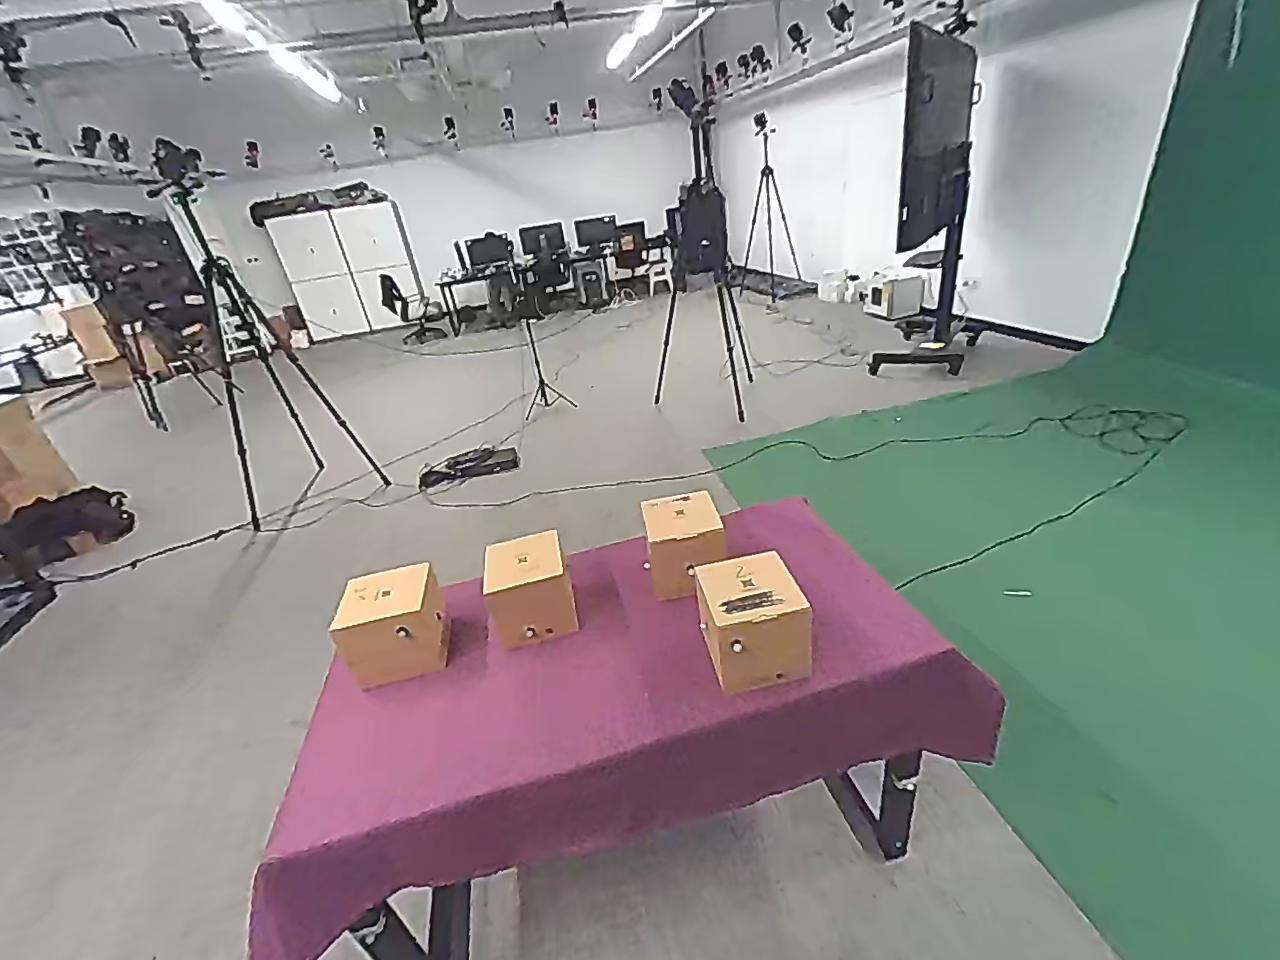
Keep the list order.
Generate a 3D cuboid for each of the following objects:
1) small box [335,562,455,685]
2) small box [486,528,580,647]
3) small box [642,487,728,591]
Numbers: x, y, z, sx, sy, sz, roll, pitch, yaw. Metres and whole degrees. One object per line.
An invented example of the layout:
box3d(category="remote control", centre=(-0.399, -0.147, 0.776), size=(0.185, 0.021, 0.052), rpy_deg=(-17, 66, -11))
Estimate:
box3d(category="small box", centre=(-0.511, 0.307, 1.161), size=(0.179, 0.176, 0.168), rpy_deg=(-13, 28, -6))
box3d(category="small box", centre=(-0.235, 0.237, 1.204), size=(0.168, 0.176, 0.179), rpy_deg=(-14, 29, -6))
box3d(category="small box", centre=(0.104, 0.143, 1.260), size=(0.168, 0.176, 0.179), rpy_deg=(-10, 30, -1))
